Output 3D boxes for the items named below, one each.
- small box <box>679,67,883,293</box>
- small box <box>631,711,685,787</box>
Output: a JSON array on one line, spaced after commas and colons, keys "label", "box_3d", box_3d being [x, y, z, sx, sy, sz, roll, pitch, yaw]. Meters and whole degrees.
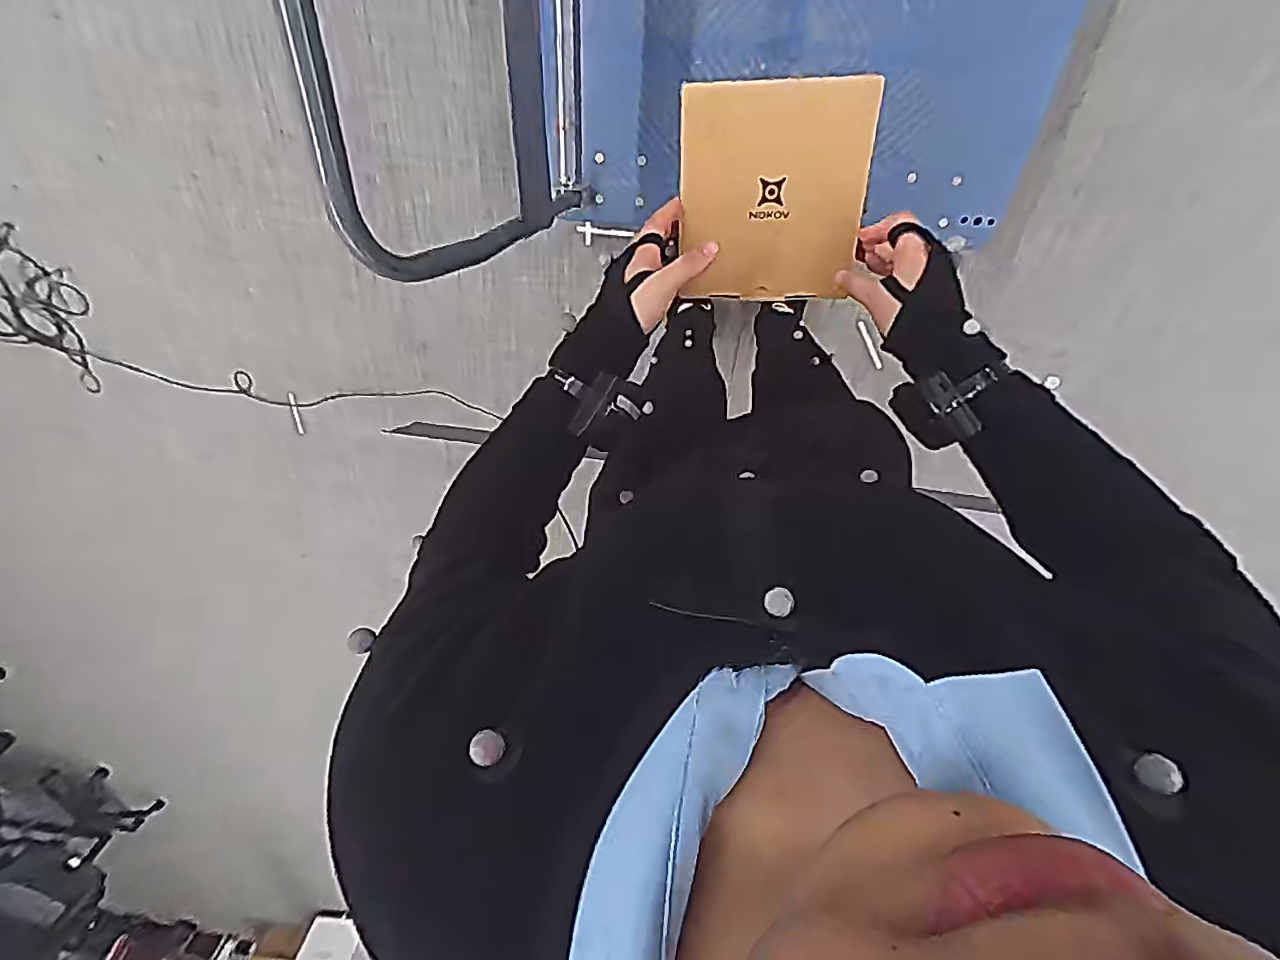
[{"label": "small box", "box_3d": [0.126, -0.296, 0.551, 0.168, 0.176, 0.179, 2, 120, 7]}, {"label": "small box", "box_3d": [0.069, 0.975, 1.962, 0.168, 0.176, 0.179, 10, 123, -1]}]
